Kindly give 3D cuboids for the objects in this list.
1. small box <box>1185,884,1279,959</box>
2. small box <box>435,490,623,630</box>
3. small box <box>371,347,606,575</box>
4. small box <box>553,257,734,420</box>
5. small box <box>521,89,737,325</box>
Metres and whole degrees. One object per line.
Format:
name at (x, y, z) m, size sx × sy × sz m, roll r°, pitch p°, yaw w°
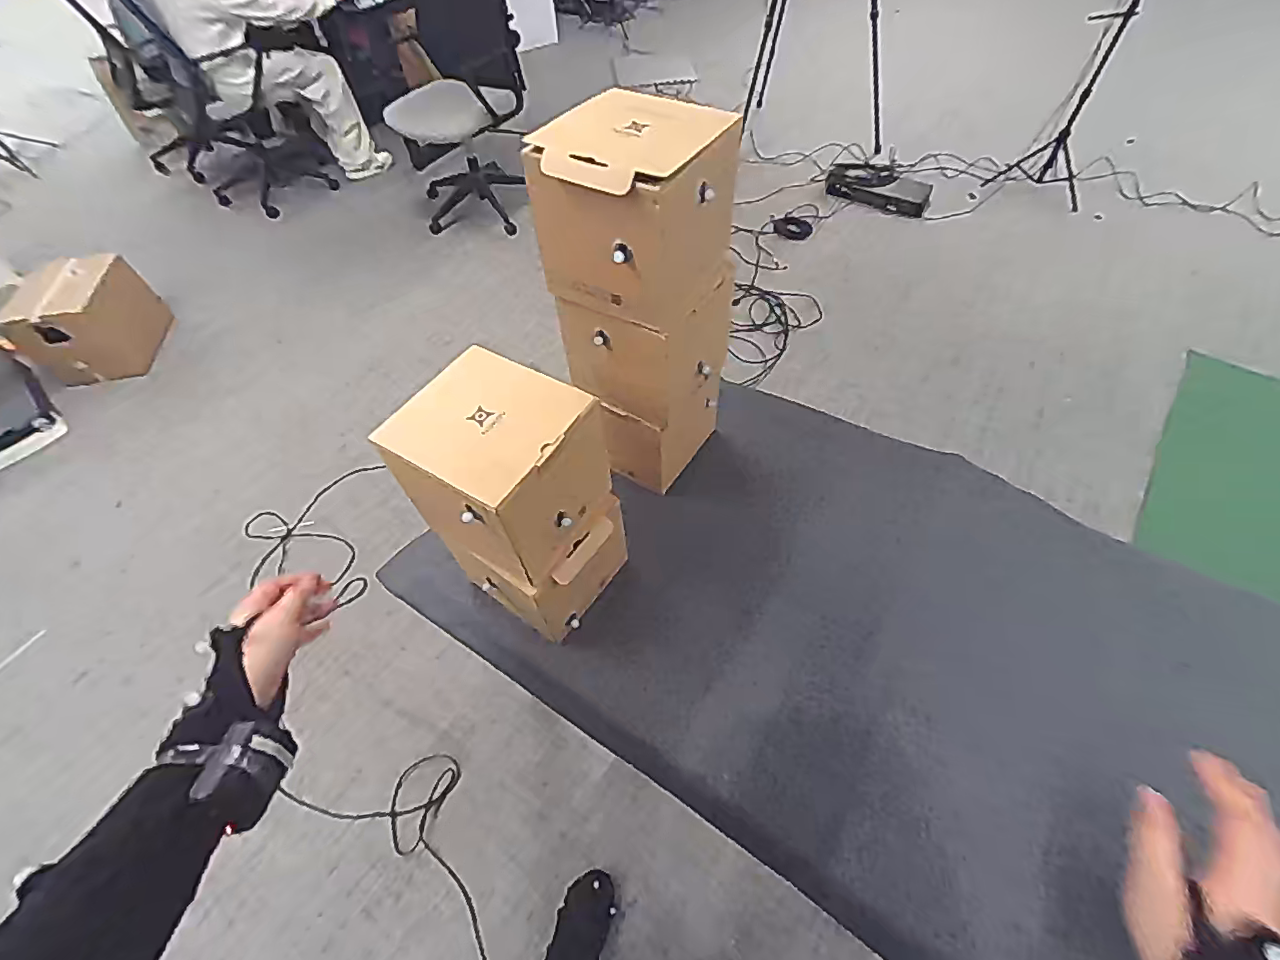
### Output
small box at (0.583, 0.464, 0.429) m, size 0.179 × 0.176 × 0.168 m, roll 33°, pitch 58°, yaw 25°
small box at (-0.139, 0.085, 0.749) m, size 0.179 × 0.176 × 0.168 m, roll 29°, pitch 61°, yaw 22°
small box at (-0.158, -0.018, 0.624) m, size 0.179 × 0.176 × 0.168 m, roll 25°, pitch 60°, yaw 19°
small box at (0.008, -0.211, 0.748) m, size 0.179 × 0.176 × 0.168 m, roll 28°, pitch 62°, yaw 21°
small box at (-0.005, -0.308, 0.618) m, size 0.168 × 0.176 × 0.179 m, roll 25°, pitch 59°, yaw 18°
